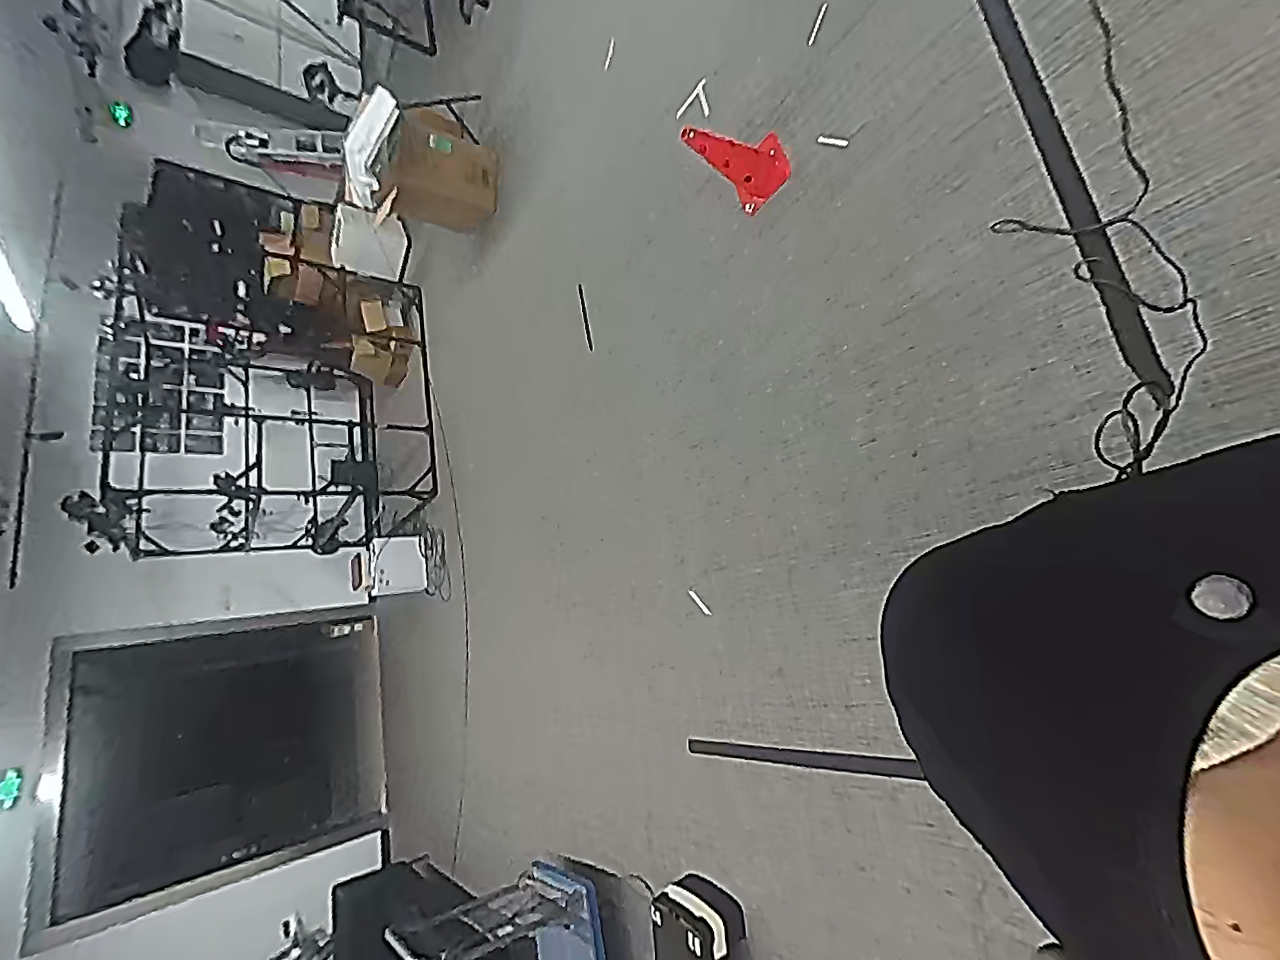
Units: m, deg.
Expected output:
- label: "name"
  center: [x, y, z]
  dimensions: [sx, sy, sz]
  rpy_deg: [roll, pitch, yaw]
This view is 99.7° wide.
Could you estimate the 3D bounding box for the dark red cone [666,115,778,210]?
- label: "dark red cone"
  center: [0.240, -1.043, 1.711]
  dimensions: [0.201, 0.394, 0.202]
  rpy_deg: [-36, 62, 45]
